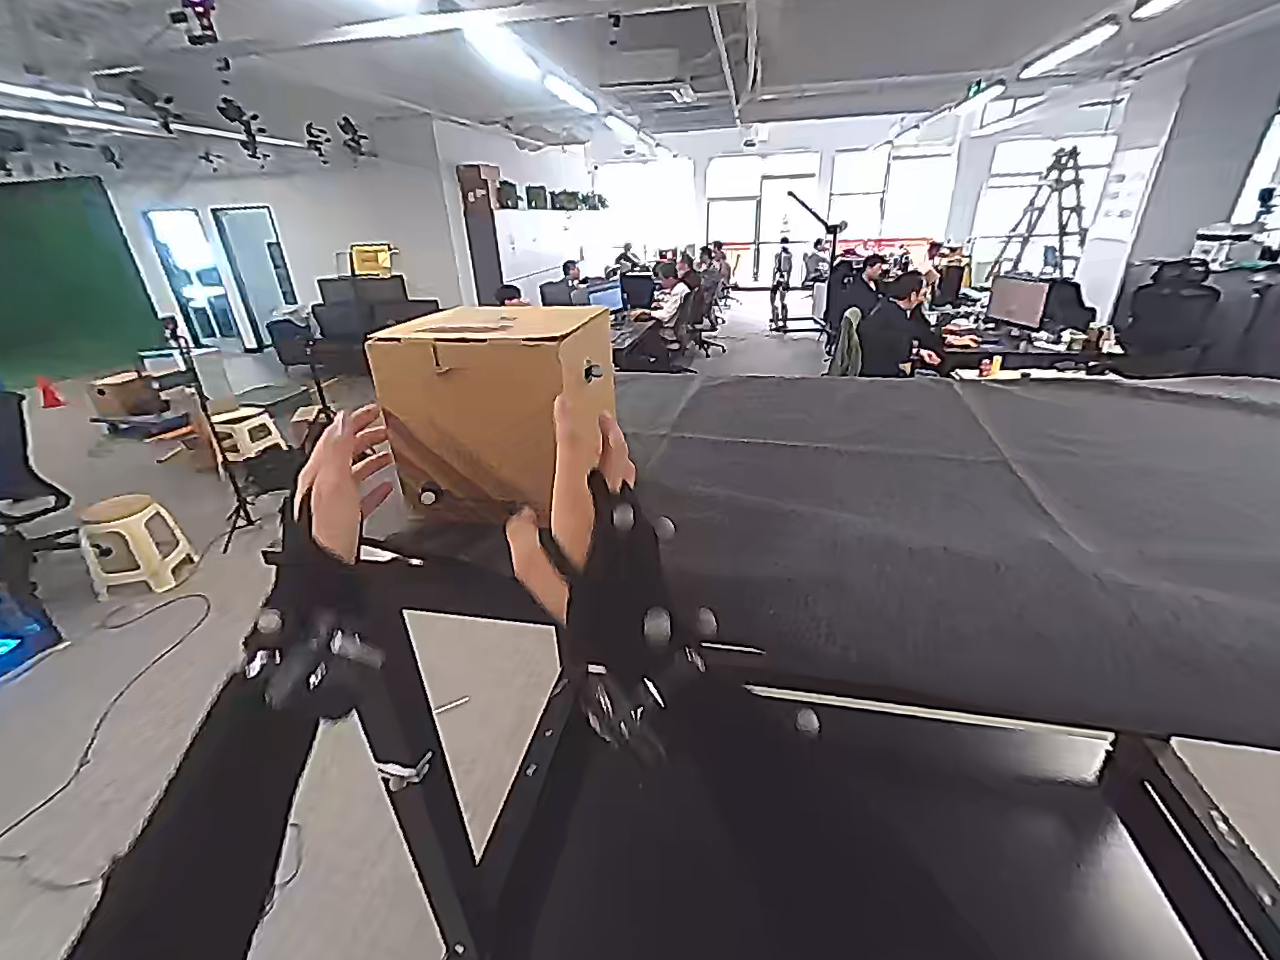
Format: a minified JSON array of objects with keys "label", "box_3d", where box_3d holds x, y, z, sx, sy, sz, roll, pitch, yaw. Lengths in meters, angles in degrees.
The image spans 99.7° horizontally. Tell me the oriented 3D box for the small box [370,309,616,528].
[{"label":"small box","box_3d":[-0.120,-0.066,0.526,0.168,0.176,0.179,3,26,10]}]
